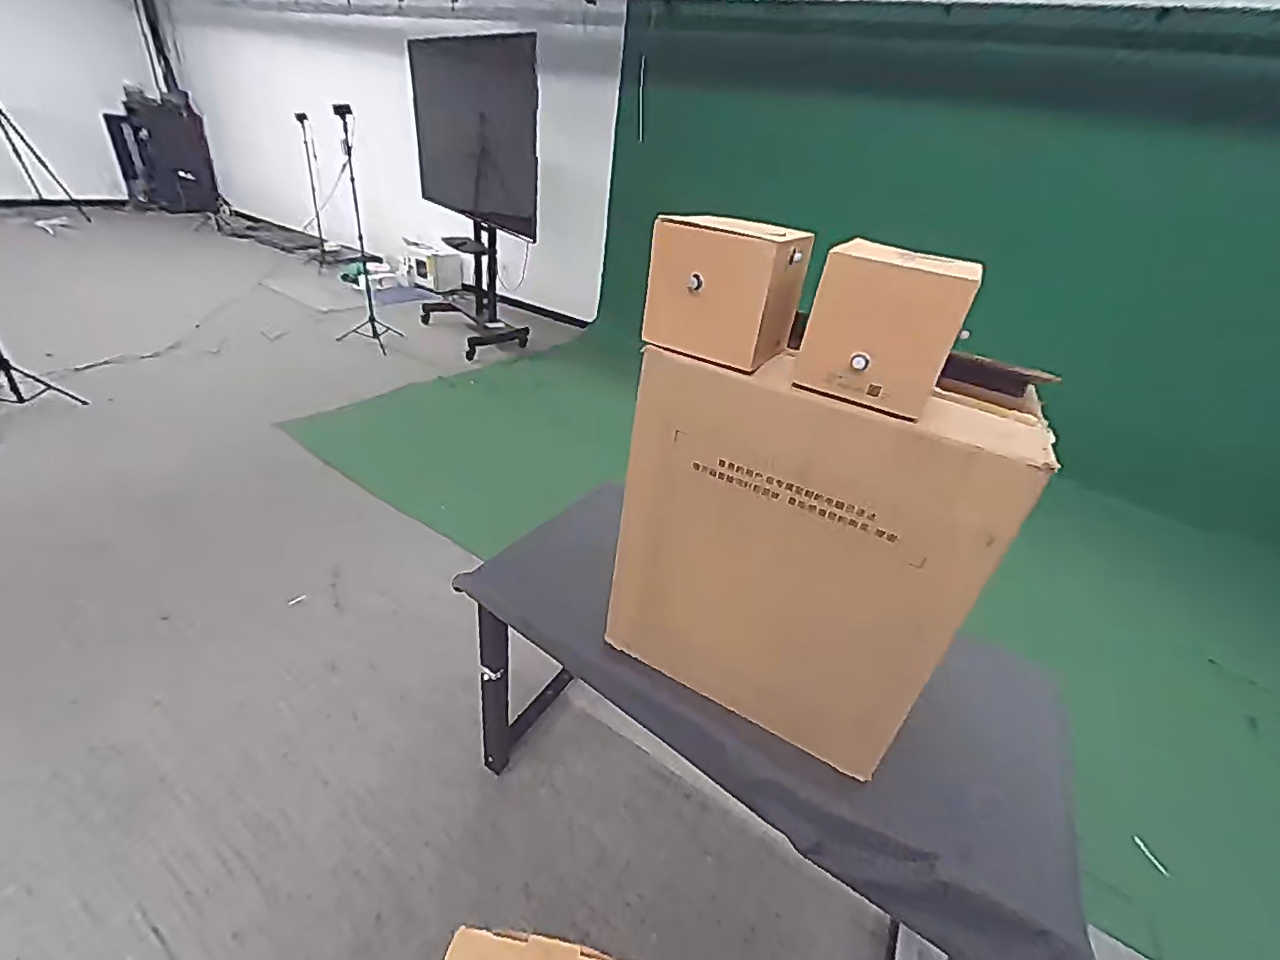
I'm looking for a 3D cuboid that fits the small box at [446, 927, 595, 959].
[{"bbox_3d":[-0.097,0.489,0.390,0.168,0.176,0.179,12,19,2],"label":"small box"}]

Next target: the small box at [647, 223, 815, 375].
[{"bbox_3d":[0.126,-0.266,0.782,0.179,0.176,0.168,23,35,22],"label":"small box"}]

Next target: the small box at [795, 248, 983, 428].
[{"bbox_3d":[0.321,-0.191,0.709,0.168,0.176,0.179,24,35,21],"label":"small box"}]
